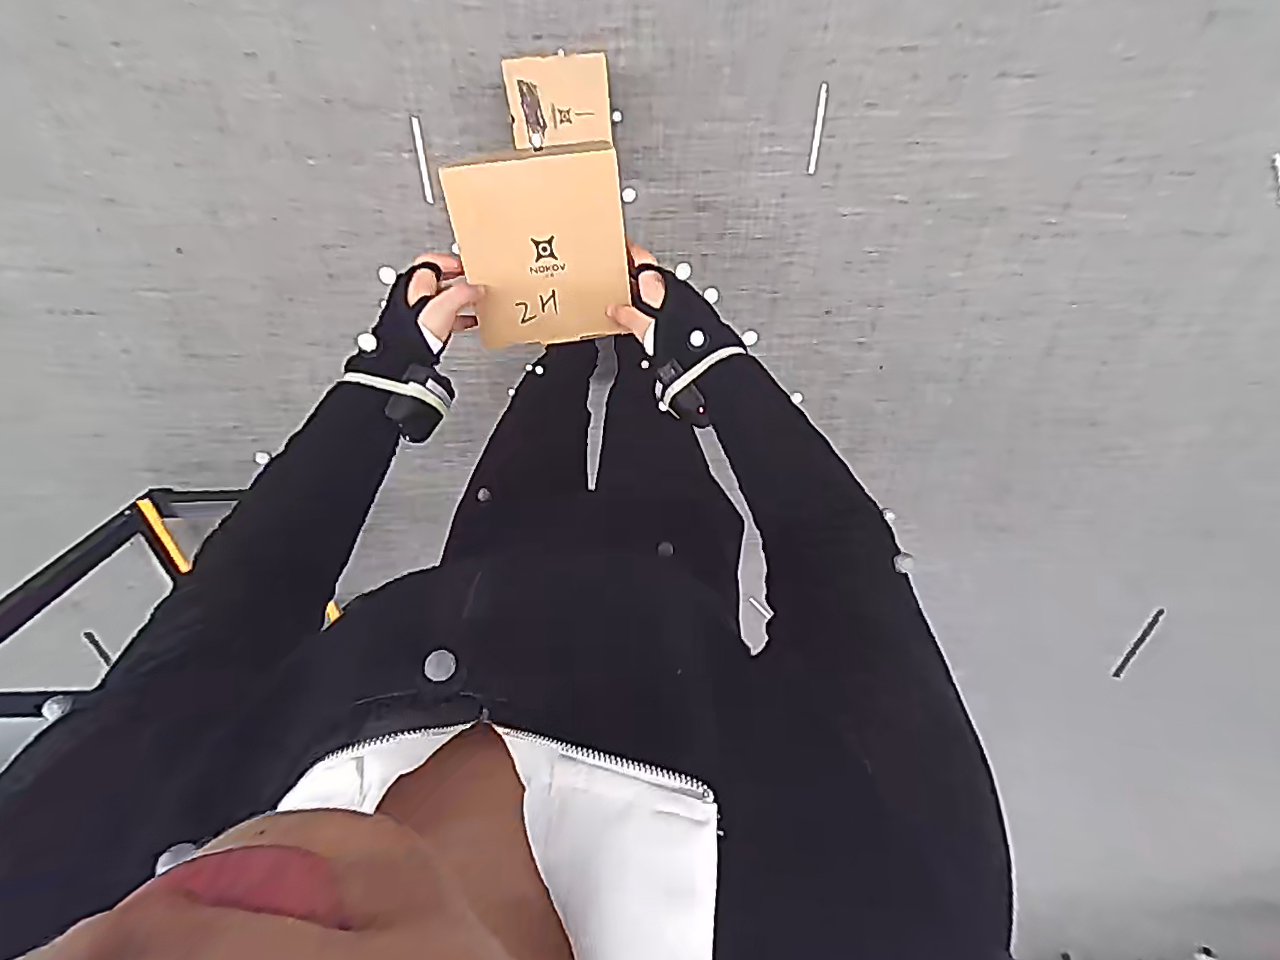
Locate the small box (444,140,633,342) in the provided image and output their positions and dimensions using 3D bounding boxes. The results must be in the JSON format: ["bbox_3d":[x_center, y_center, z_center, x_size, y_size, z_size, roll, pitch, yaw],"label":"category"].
[{"bbox_3d":[-0.101,-0.273,0.606,0.168,0.176,0.179,-7,125,-2],"label":"small box"}]

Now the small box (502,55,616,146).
[{"bbox_3d":[-0.137,-0.661,0.988,0.179,0.176,0.168,-4,123,0],"label":"small box"}]
